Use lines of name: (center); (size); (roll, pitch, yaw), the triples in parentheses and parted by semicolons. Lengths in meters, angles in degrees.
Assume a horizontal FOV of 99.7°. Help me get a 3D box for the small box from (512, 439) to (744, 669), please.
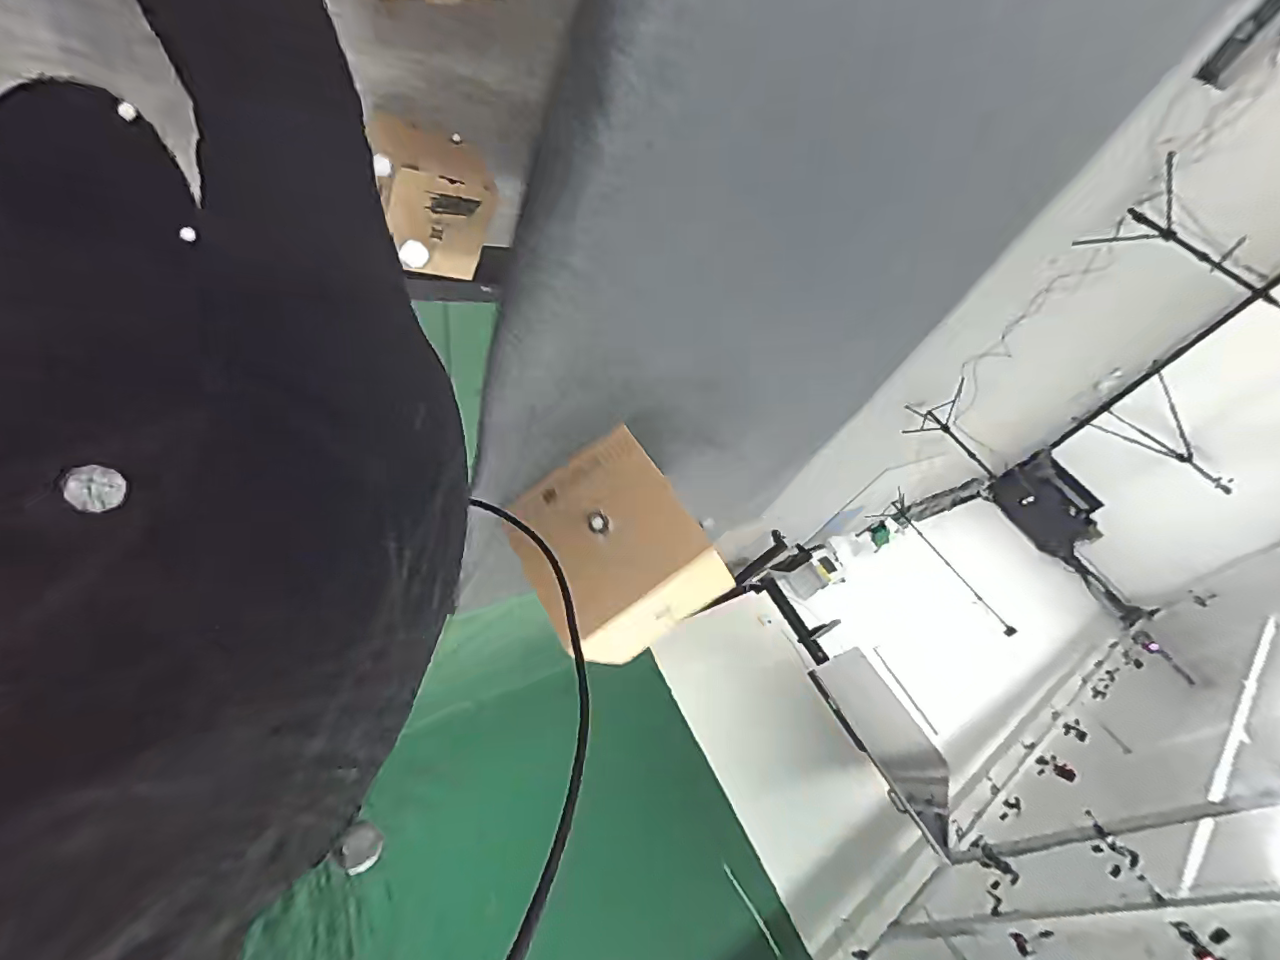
small box: (-0.009, 0.080, 0.589); (0.168, 0.176, 0.179); (-36, 154, 0)

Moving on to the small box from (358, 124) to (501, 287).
small box: (-0.367, -0.464, 0.924); (0.168, 0.176, 0.179); (-7, 144, -41)
